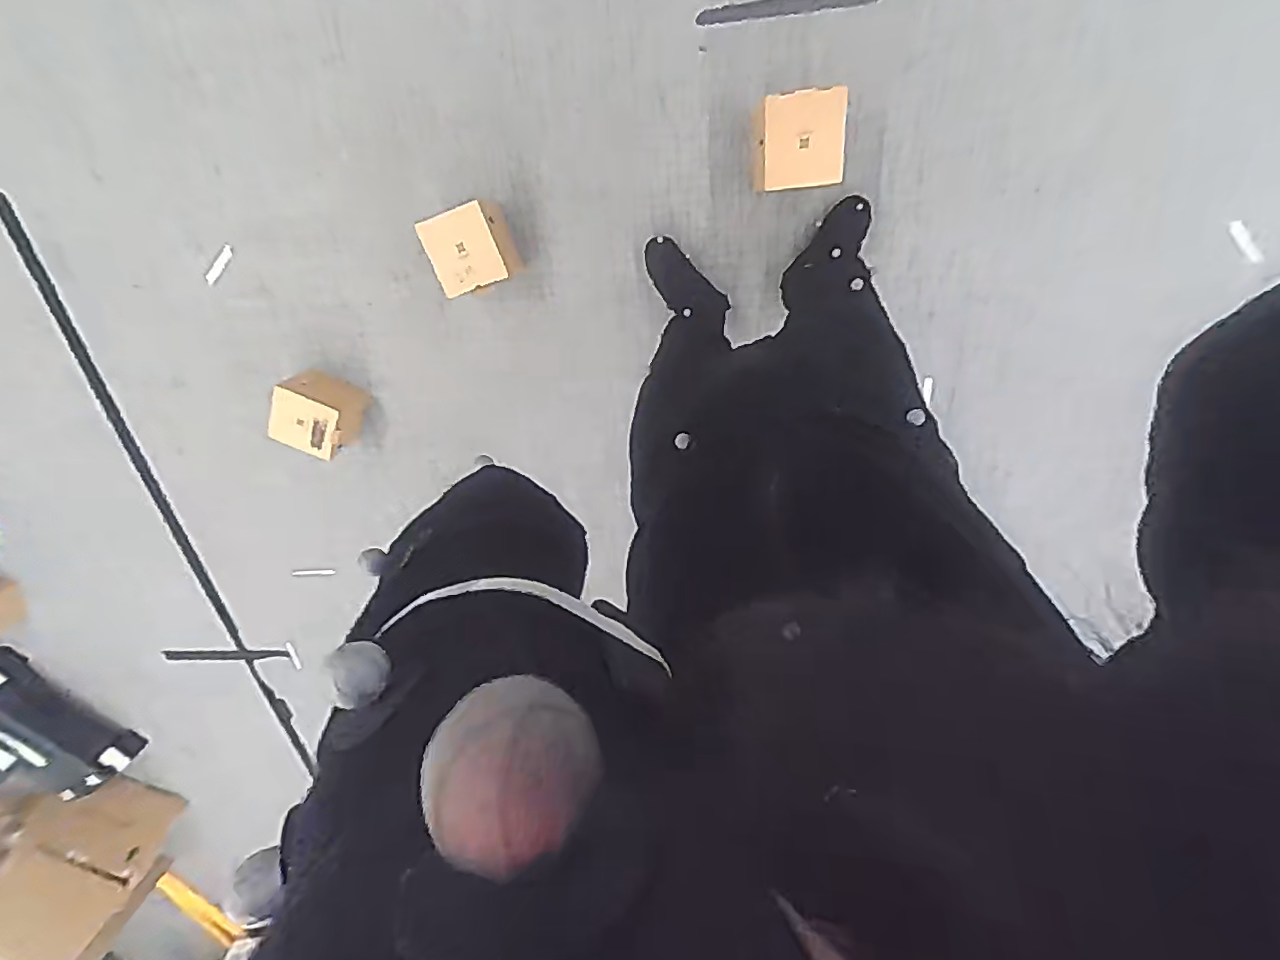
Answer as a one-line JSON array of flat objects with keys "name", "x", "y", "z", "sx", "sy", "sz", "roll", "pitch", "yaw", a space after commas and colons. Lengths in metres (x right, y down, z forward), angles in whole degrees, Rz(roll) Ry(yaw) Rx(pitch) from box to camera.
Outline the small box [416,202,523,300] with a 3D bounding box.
[{"name": "small box", "x": -0.410, "y": -0.563, "z": 1.328, "sx": 0.168, "sy": 0.176, "sz": 0.179, "roll": -16, "pitch": 115, "yaw": 11}]

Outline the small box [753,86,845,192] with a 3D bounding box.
[{"name": "small box", "x": 0.344, "y": -0.745, "z": 1.198, "sx": 0.168, "sy": 0.176, "sz": 0.179, "roll": -4, "pitch": 116, "yaw": 6}]
